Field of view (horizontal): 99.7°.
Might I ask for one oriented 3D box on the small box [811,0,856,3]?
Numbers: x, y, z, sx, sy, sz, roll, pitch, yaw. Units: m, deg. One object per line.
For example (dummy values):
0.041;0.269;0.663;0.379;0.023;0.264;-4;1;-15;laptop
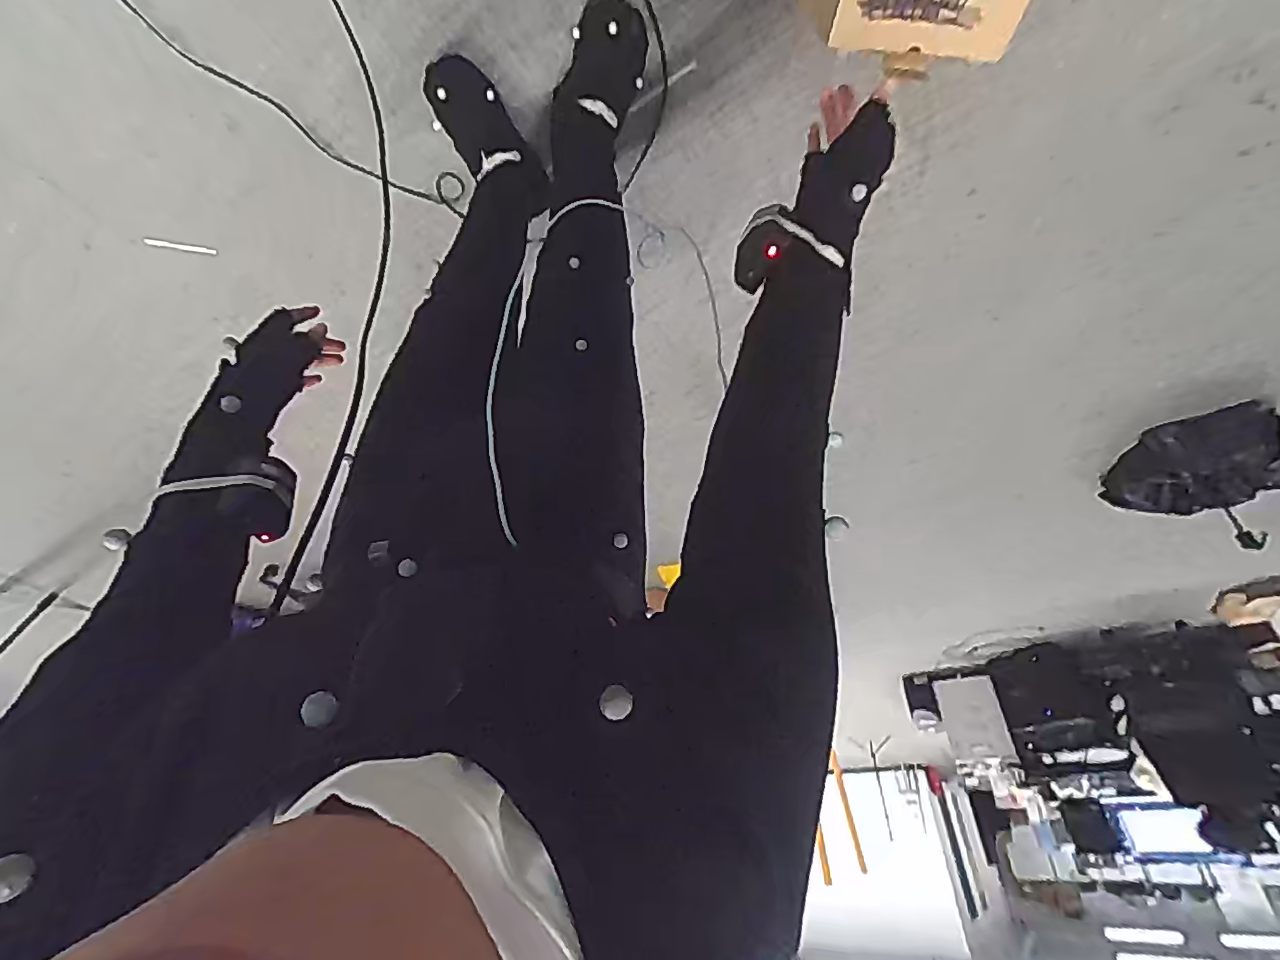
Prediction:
0.259;-0.642;0.566;0.168;0.176;0.179;-2;147;2;small box
